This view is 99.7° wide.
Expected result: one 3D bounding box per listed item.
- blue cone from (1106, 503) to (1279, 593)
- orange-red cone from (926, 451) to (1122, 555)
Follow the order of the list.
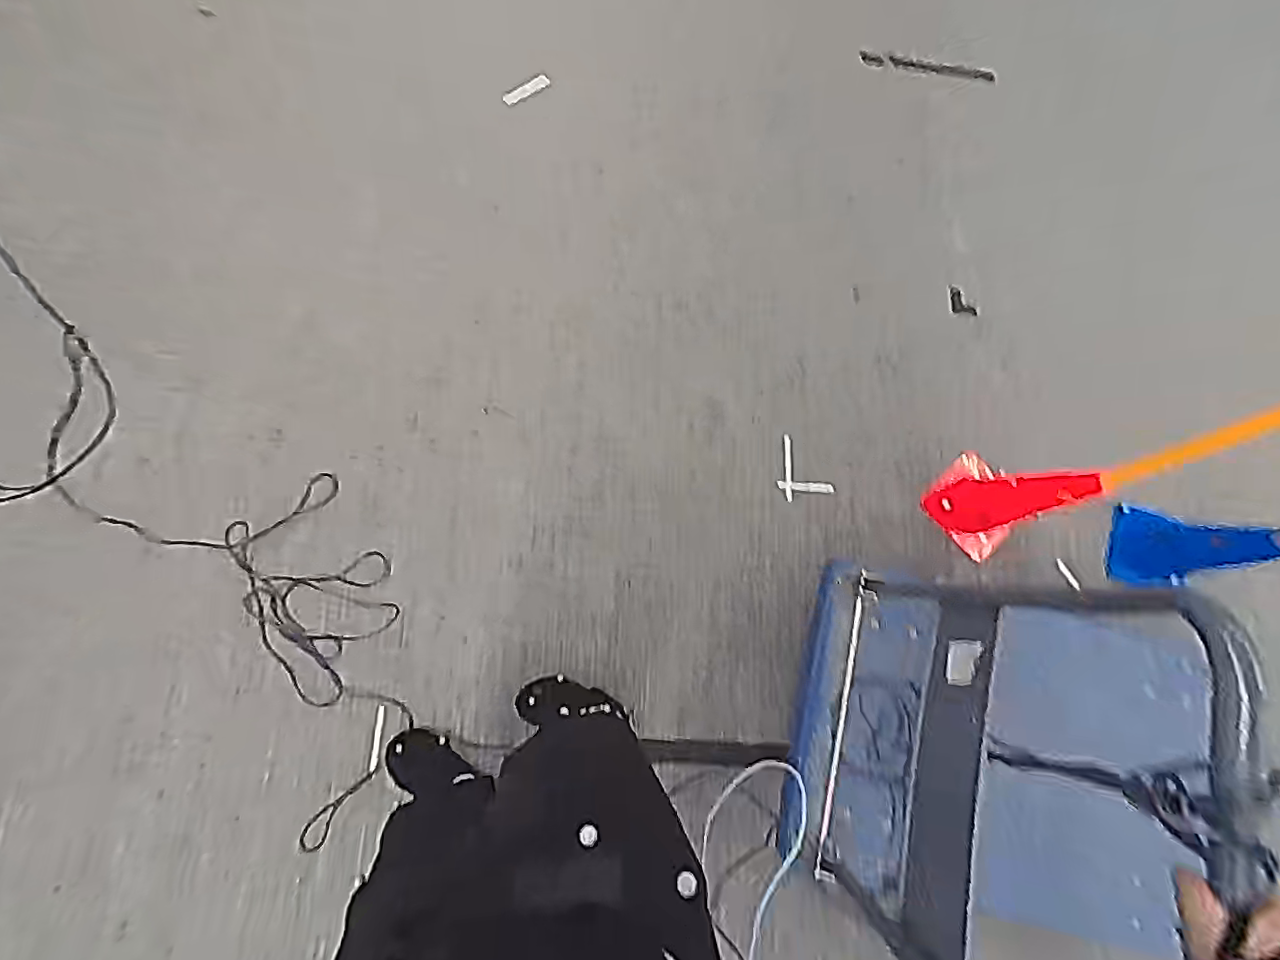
[{"bbox_3d":[1.251,0.136,1.158,0.192,0.380,0.193,18,79,0],"label":"blue cone"},{"bbox_3d":[0.822,0.026,1.128,0.198,0.360,0.199,-41,87,-10],"label":"orange-red cone"}]
